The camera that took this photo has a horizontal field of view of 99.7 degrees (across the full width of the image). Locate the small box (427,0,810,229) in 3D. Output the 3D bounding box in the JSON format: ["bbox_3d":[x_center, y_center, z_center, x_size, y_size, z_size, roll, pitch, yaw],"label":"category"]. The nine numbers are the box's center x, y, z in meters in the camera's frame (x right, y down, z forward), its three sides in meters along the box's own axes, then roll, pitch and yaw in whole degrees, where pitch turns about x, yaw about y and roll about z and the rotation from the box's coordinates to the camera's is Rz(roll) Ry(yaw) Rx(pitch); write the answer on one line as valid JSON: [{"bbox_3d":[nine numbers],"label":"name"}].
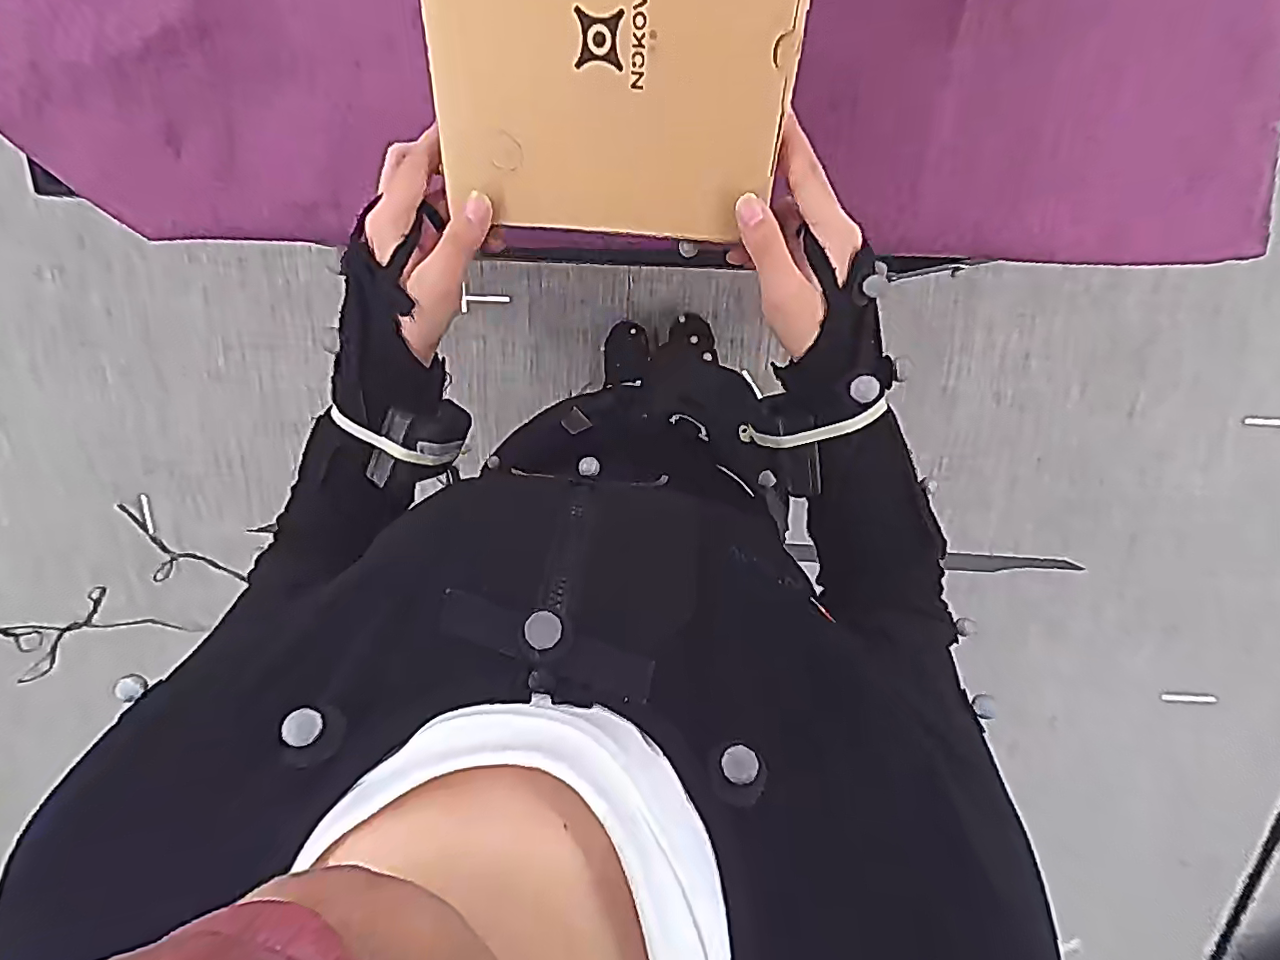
[{"bbox_3d":[-0.007,-0.252,0.314,0.179,0.176,0.168,4,123,0],"label":"small box"}]
